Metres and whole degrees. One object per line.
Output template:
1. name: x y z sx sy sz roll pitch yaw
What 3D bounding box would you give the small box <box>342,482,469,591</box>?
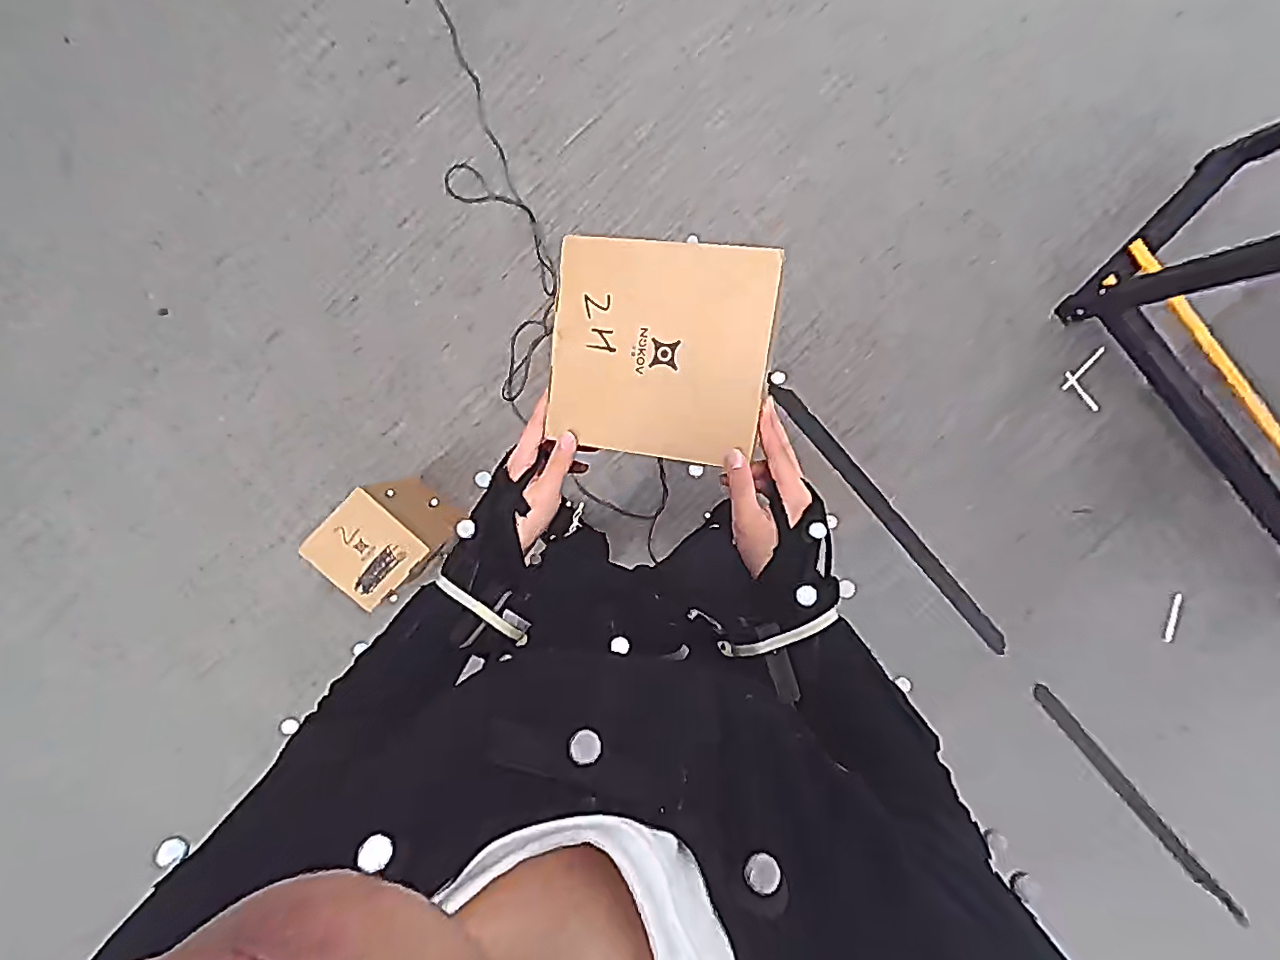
1. small box: -0.519 0.118 1.223 0.179 0.176 0.168 39 91 -7

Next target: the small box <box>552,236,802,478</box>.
1. small box: 0.040 -0.106 0.491 0.179 0.176 0.168 10 99 13
